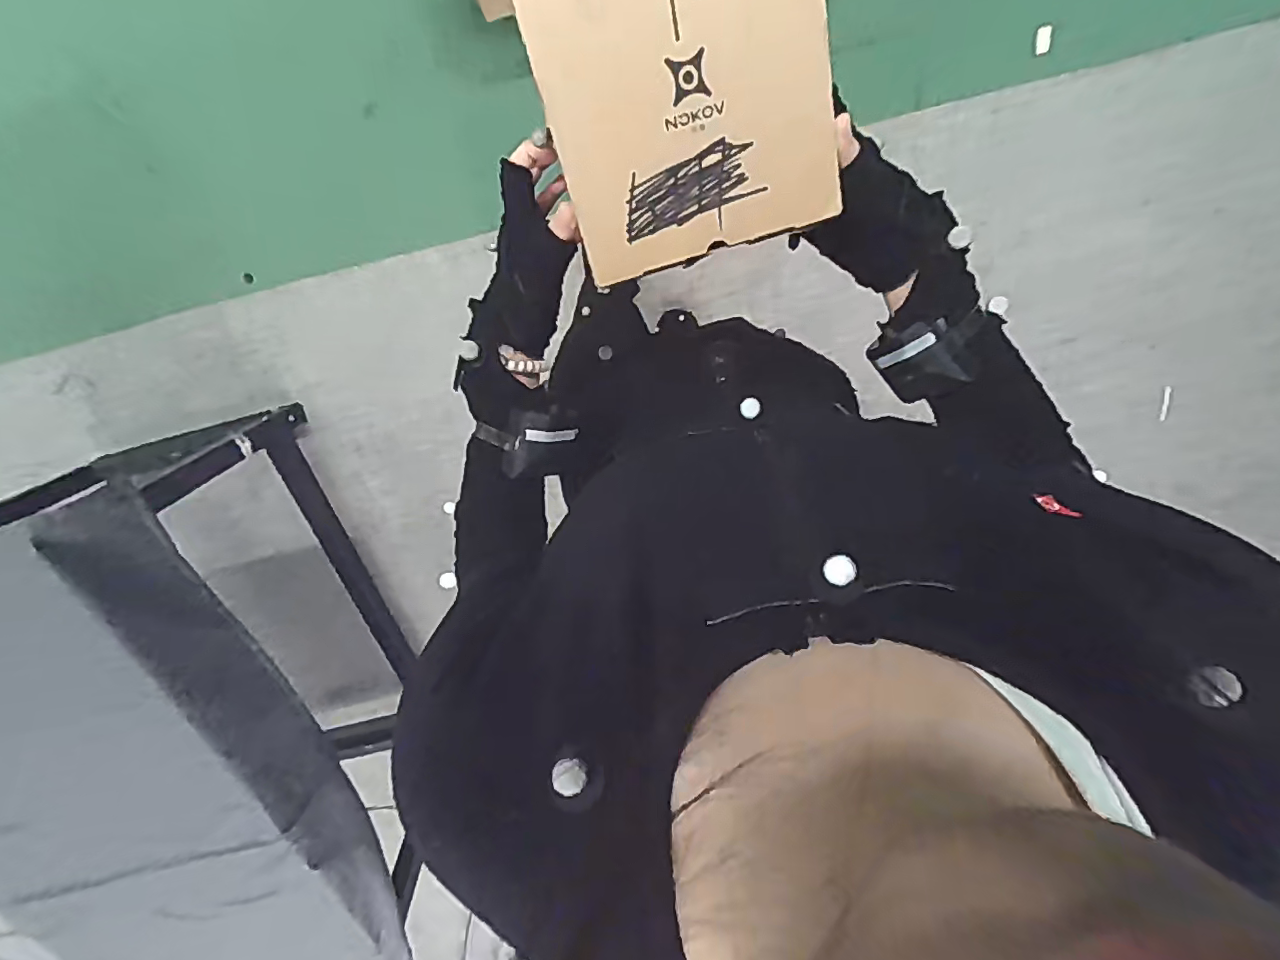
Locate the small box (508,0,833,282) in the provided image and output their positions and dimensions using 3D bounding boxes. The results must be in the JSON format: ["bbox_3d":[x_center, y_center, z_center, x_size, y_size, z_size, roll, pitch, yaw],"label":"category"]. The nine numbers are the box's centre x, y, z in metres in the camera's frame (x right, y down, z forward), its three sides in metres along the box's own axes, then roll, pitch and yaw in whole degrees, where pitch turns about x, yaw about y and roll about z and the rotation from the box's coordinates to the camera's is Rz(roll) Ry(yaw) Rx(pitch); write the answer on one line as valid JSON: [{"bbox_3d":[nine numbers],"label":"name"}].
[{"bbox_3d":[0.018,-0.260,0.376,0.168,0.176,0.179,-16,118,2],"label":"small box"}]
